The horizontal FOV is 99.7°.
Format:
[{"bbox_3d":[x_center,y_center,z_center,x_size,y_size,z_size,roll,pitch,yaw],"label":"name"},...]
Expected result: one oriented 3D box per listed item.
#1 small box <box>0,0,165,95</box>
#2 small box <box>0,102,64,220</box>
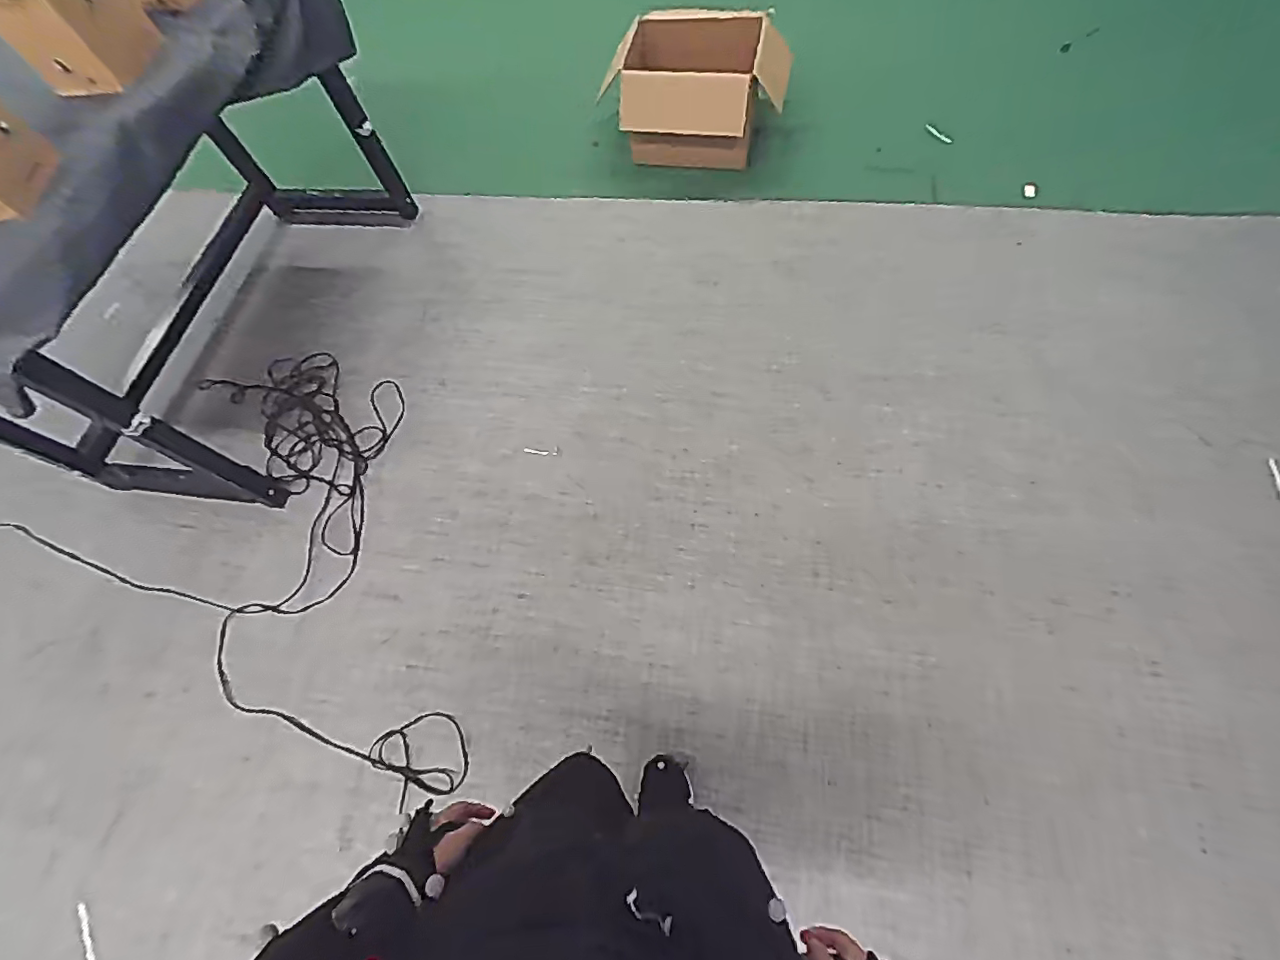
[{"bbox_3d":[-1.102,-0.899,1.065,0.168,0.176,0.179,4,67,8],"label":"small box"},{"bbox_3d":[-1.161,-0.560,0.915,0.179,0.176,0.168,-4,63,6],"label":"small box"}]
